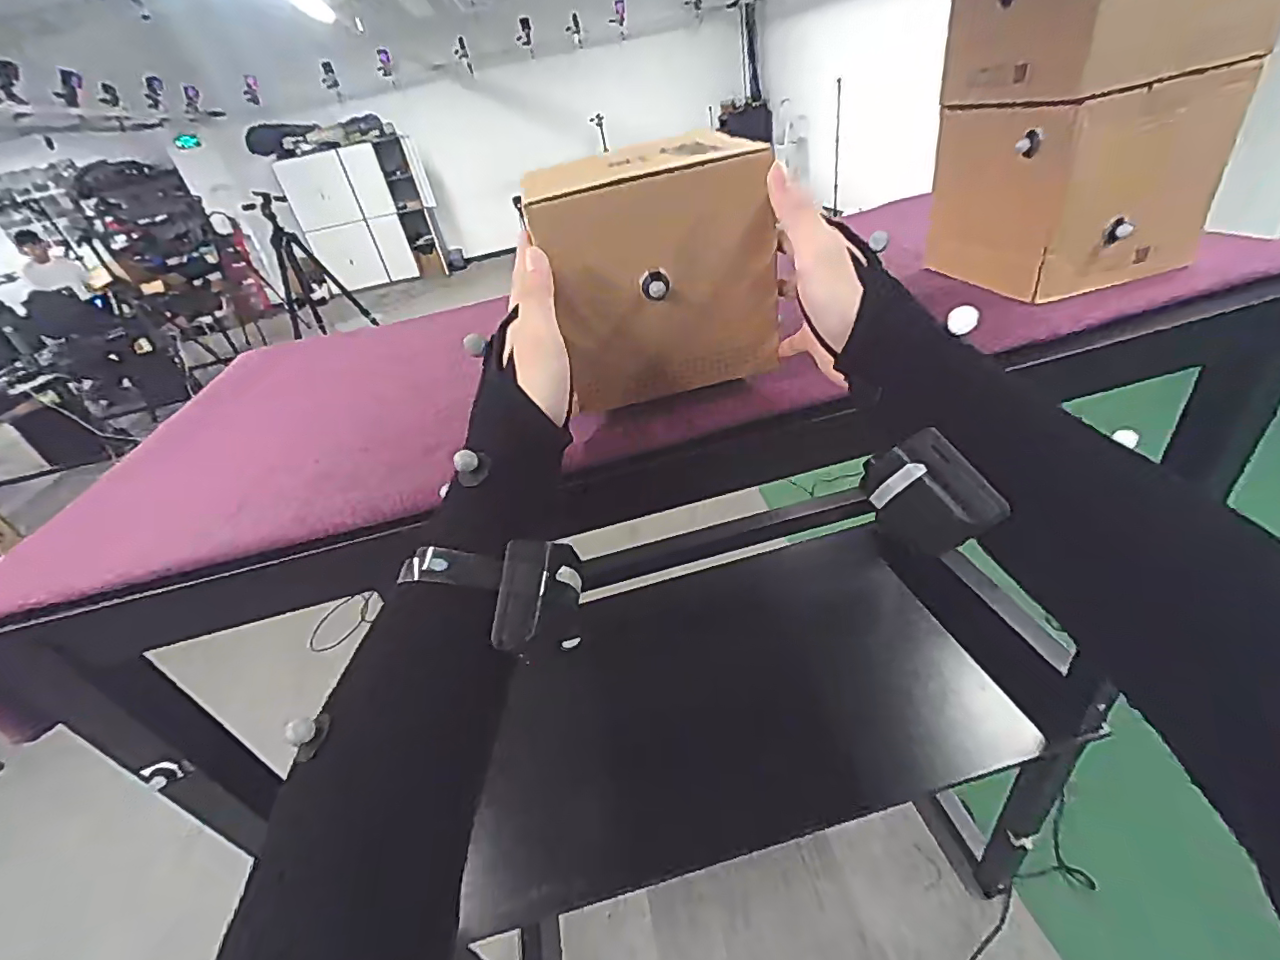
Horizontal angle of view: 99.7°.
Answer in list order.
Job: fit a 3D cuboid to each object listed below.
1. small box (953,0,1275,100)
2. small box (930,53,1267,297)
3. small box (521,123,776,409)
[{"bbox_3d":[0.385,-0.425,0.440,0.179,0.176,0.168,-15,36,-3],"label":"small box"},{"bbox_3d":[0.420,-0.299,0.541,0.168,0.176,0.179,-15,35,-3],"label":"small box"},{"bbox_3d":[0.008,-0.185,0.468,0.179,0.176,0.168,-15,38,-1],"label":"small box"}]
